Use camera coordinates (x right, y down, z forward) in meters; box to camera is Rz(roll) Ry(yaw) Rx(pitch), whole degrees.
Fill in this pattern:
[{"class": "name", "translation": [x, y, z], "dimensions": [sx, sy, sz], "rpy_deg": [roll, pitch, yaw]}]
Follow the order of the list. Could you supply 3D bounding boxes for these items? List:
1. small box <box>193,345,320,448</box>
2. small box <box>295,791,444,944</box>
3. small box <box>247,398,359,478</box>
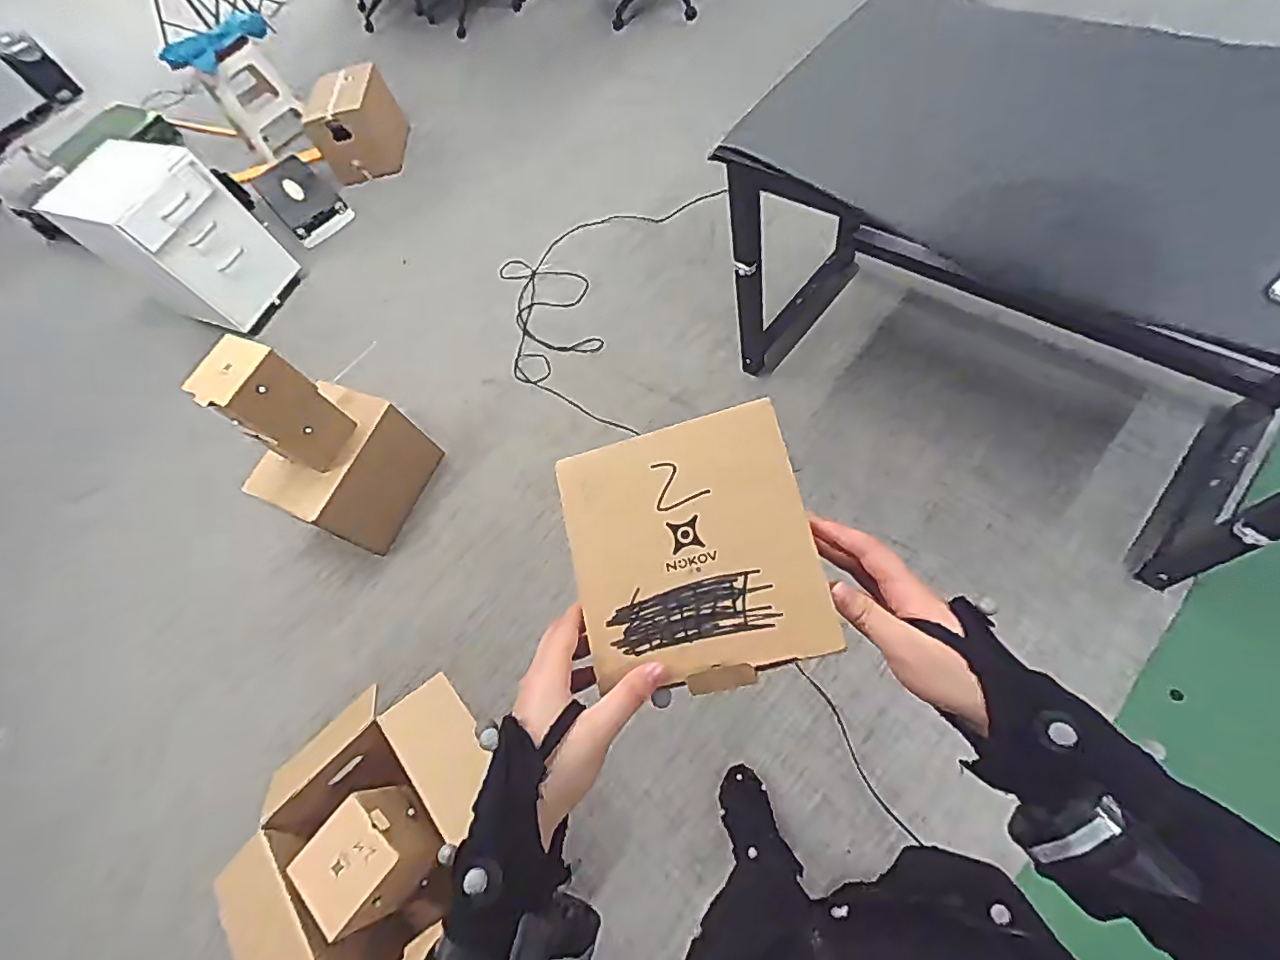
[{"class": "small box", "translation": [-0.965, -0.211, 1.384], "dimensions": [0.168, 0.176, 0.179], "rpy_deg": [18, 70, 20]}, {"class": "small box", "translation": [-0.538, 0.768, 1.096], "dimensions": [0.168, 0.176, 0.179], "rpy_deg": [35, 76, 24]}, {"class": "small box", "translation": [-0.937, -0.128, 1.522], "dimensions": [0.168, 0.176, 0.179], "rpy_deg": [17, 69, 20]}]
